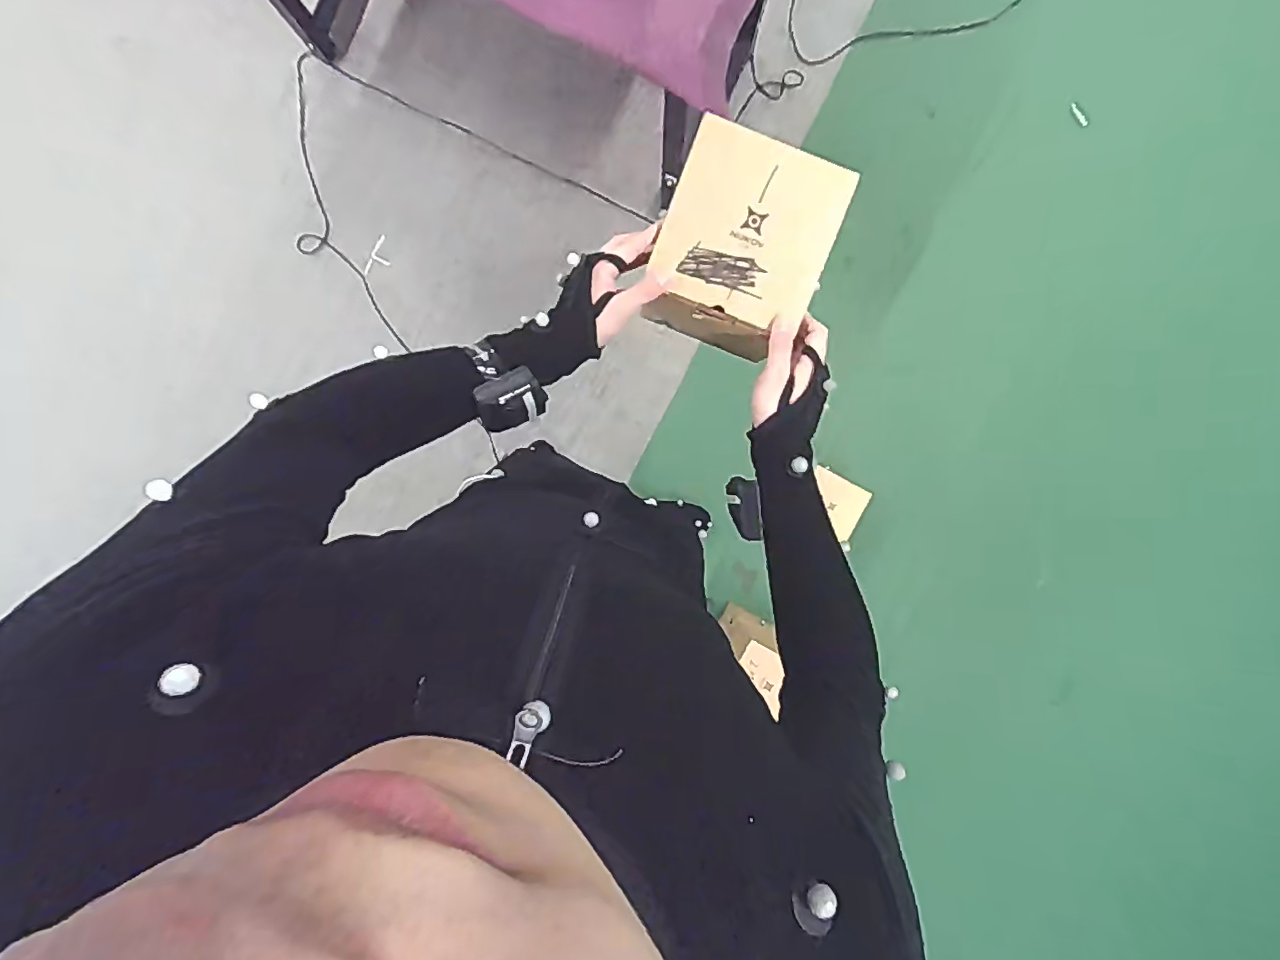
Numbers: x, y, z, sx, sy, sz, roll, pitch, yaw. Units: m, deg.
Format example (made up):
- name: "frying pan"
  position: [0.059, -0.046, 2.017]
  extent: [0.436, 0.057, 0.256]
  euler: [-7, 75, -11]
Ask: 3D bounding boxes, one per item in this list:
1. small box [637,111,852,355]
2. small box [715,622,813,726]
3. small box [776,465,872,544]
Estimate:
- name: "small box"
  position: [0.104, -0.256, 0.610]
  extent: [0.168, 0.176, 0.179]
  euler: [20, 95, -2]
- name: "small box"
  position: [0.315, 0.495, 1.410]
  extent: [0.179, 0.176, 0.168]
  euler: [29, 92, -1]
- name: "small box"
  position: [0.522, 0.062, 1.557]
  extent: [0.179, 0.176, 0.168]
  euler: [27, 92, -1]
